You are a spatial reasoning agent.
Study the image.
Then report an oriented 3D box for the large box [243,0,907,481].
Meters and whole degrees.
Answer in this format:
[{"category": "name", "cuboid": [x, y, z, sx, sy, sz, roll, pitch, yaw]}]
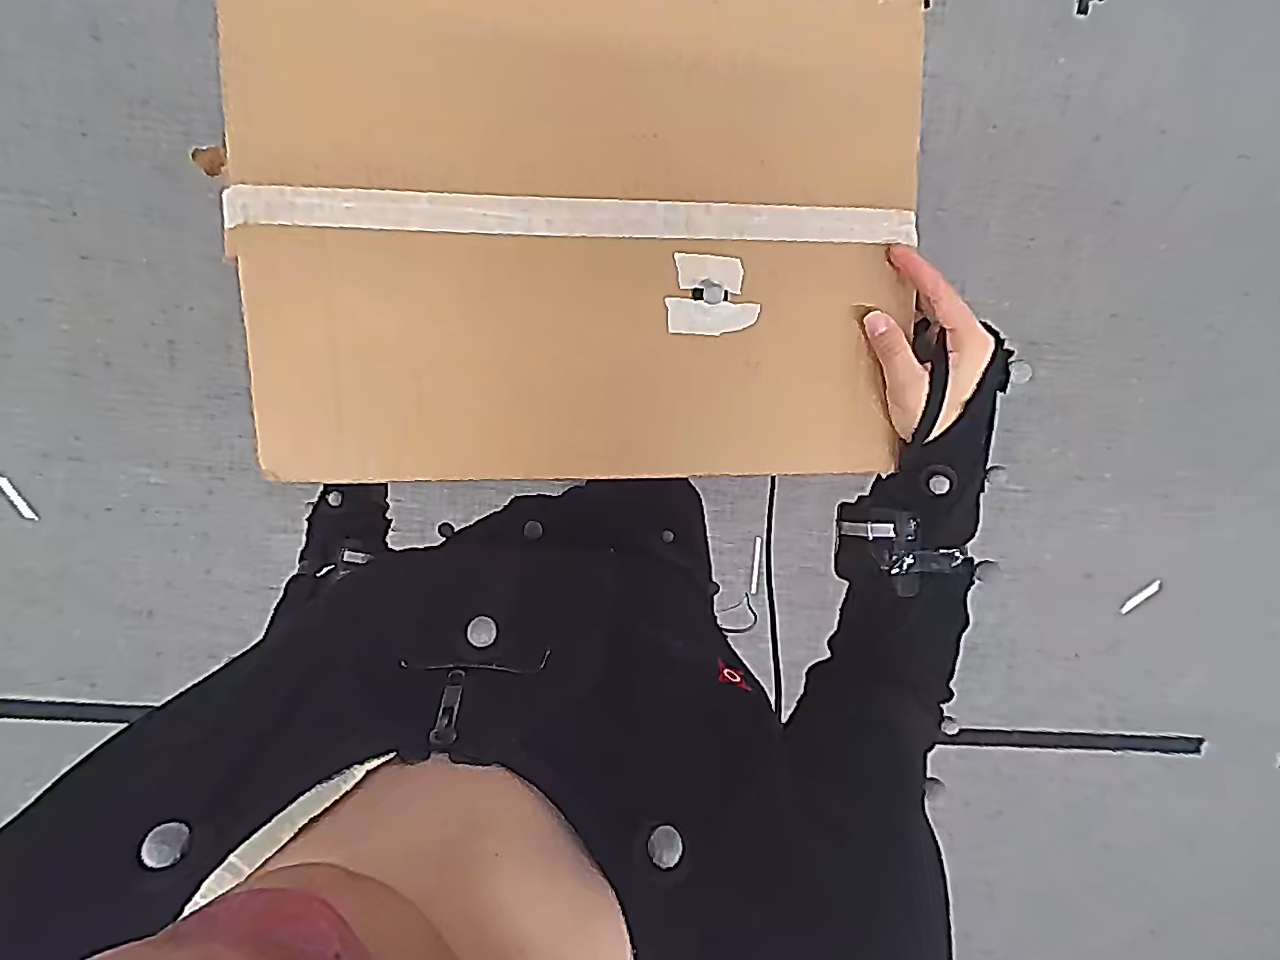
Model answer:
[{"category": "large box", "cuboid": [-0.043, -0.176, 0.484, 0.408, 0.320, 0.320, -2, 97, -8]}]
